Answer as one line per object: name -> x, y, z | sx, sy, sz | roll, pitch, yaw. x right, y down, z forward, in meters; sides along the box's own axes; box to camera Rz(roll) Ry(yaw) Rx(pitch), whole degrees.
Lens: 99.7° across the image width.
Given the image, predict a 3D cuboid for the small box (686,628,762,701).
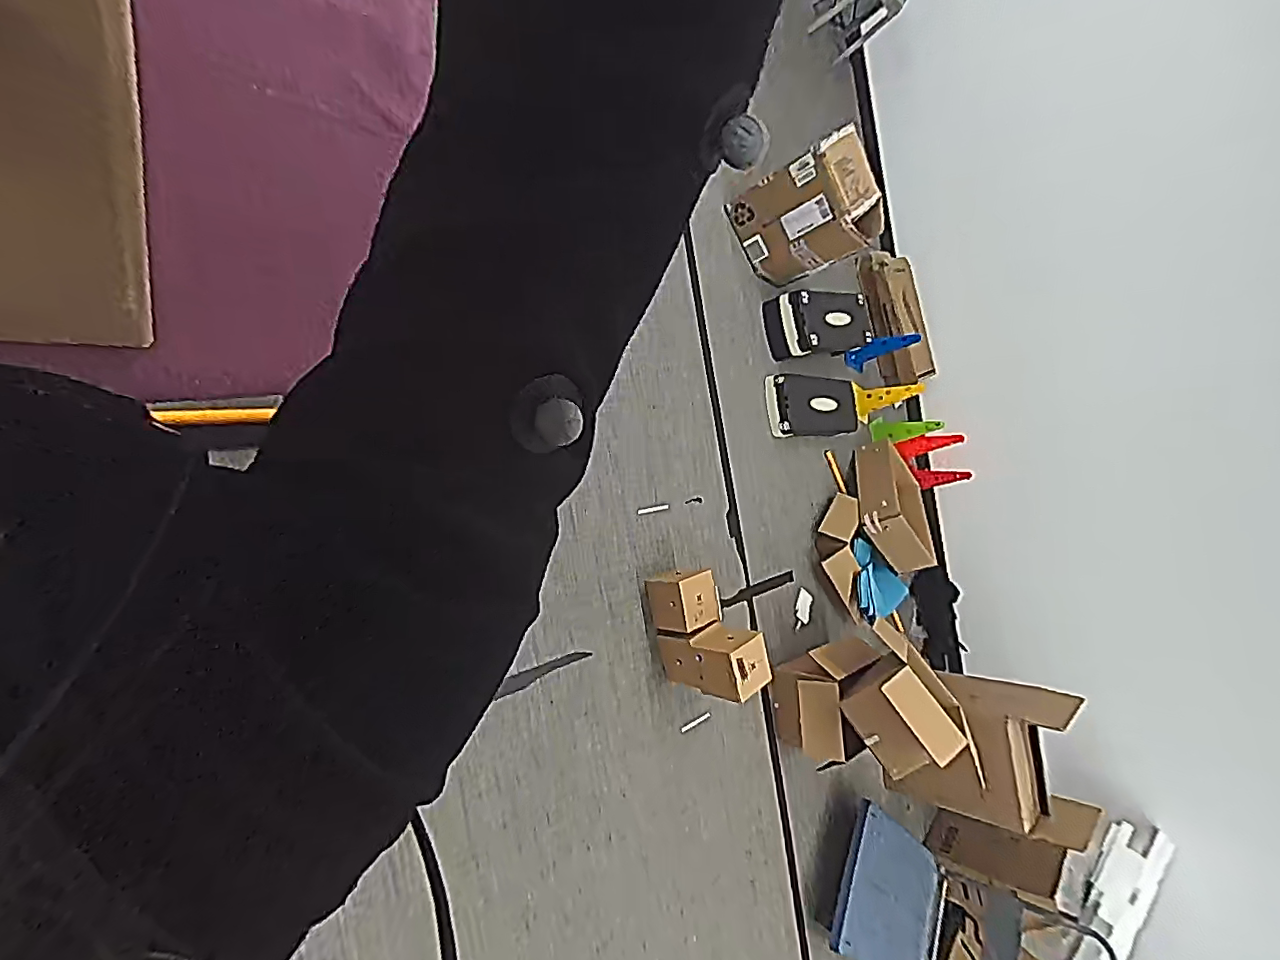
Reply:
small box -> 0.270, 0.601, 1.779 | 0.179, 0.176, 0.168 | -16, 95, -43
